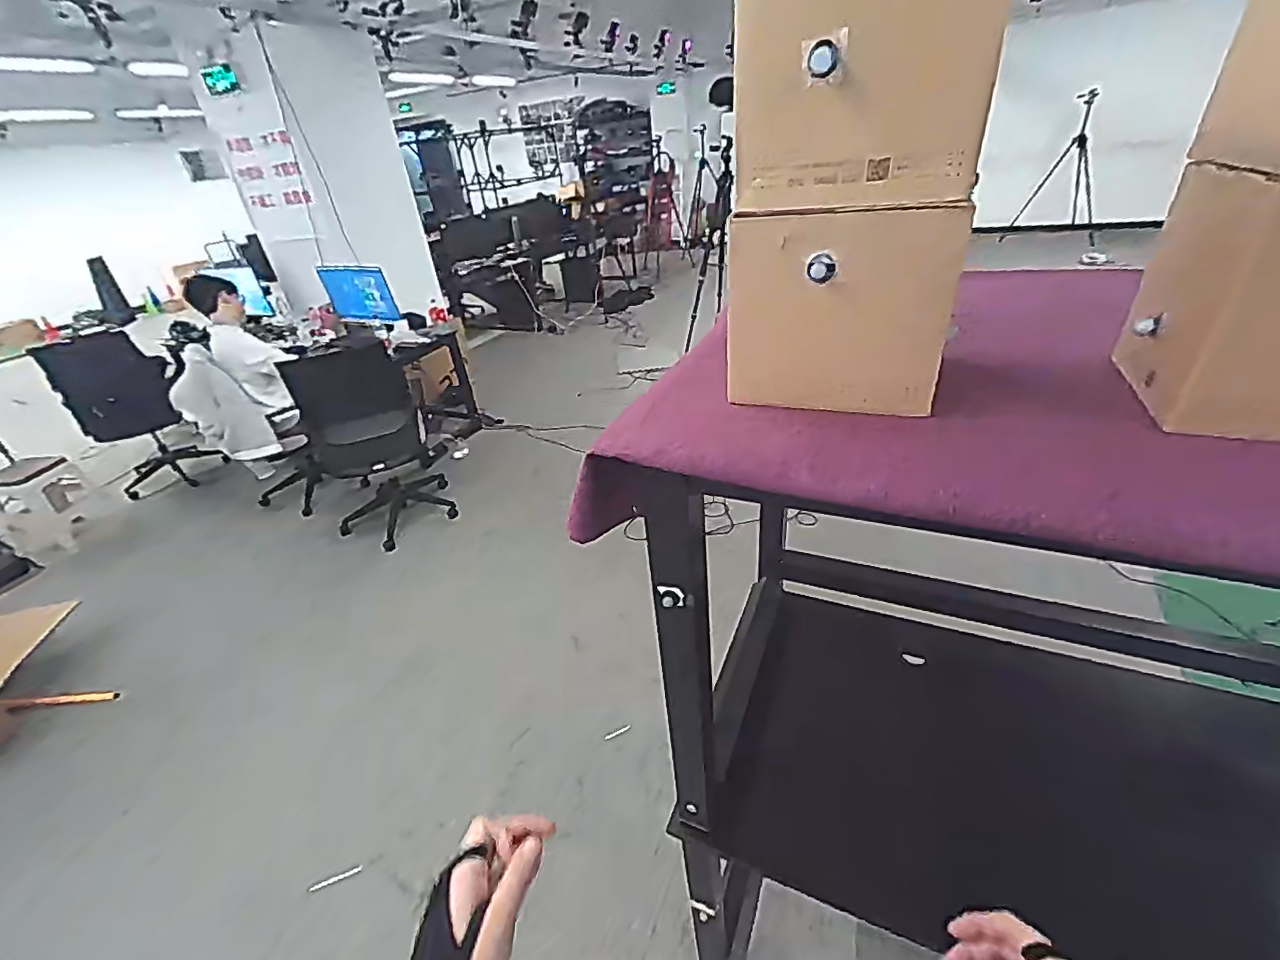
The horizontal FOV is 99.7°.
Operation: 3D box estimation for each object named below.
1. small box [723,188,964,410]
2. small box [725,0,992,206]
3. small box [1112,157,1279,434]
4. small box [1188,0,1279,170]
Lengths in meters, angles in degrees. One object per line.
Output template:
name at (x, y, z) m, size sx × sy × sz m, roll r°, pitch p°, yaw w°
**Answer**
small box at (0.183, -0.176, 0.509) m, size 0.179 × 0.176 × 0.168 m, roll 8°, pitch 35°, yaw 21°
small box at (0.169, -0.315, 0.427) m, size 0.168 × 0.176 × 0.179 m, roll 6°, pitch 33°, yaw 20°
small box at (0.488, -0.135, 0.384) m, size 0.179 × 0.176 × 0.168 m, roll 9°, pitch 34°, yaw 24°
small box at (0.474, -0.277, 0.305) m, size 0.168 × 0.176 × 0.179 m, roll 10°, pitch 35°, yaw 24°
